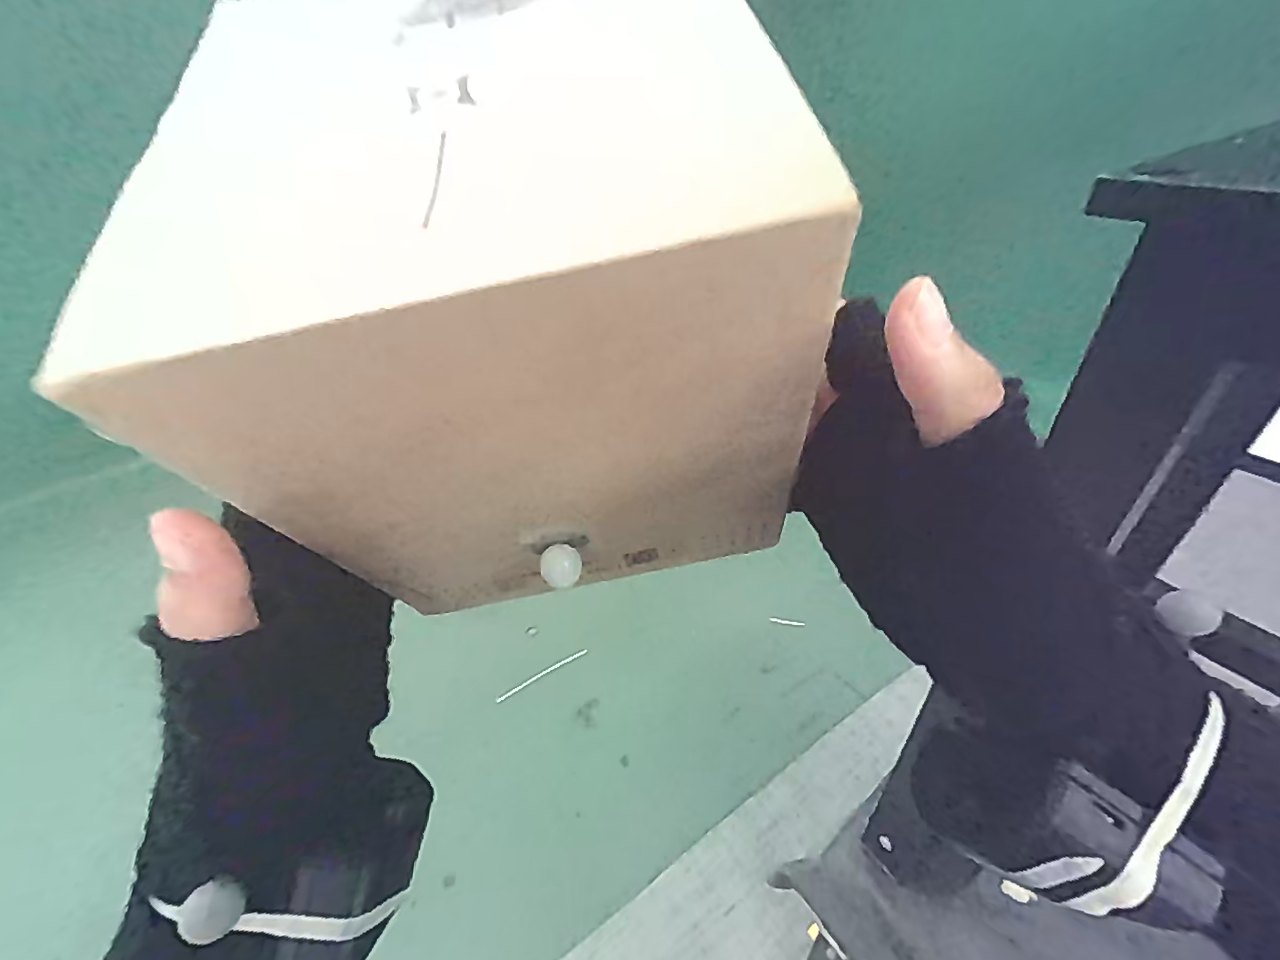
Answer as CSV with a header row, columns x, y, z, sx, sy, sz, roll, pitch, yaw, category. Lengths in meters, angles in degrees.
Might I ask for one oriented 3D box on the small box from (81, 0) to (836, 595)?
x,y,z,sx,sy,sz,roll,pitch,yaw,category
-0.042,-0.073,0.224,0.168,0.176,0.179,-12,59,2,small box
